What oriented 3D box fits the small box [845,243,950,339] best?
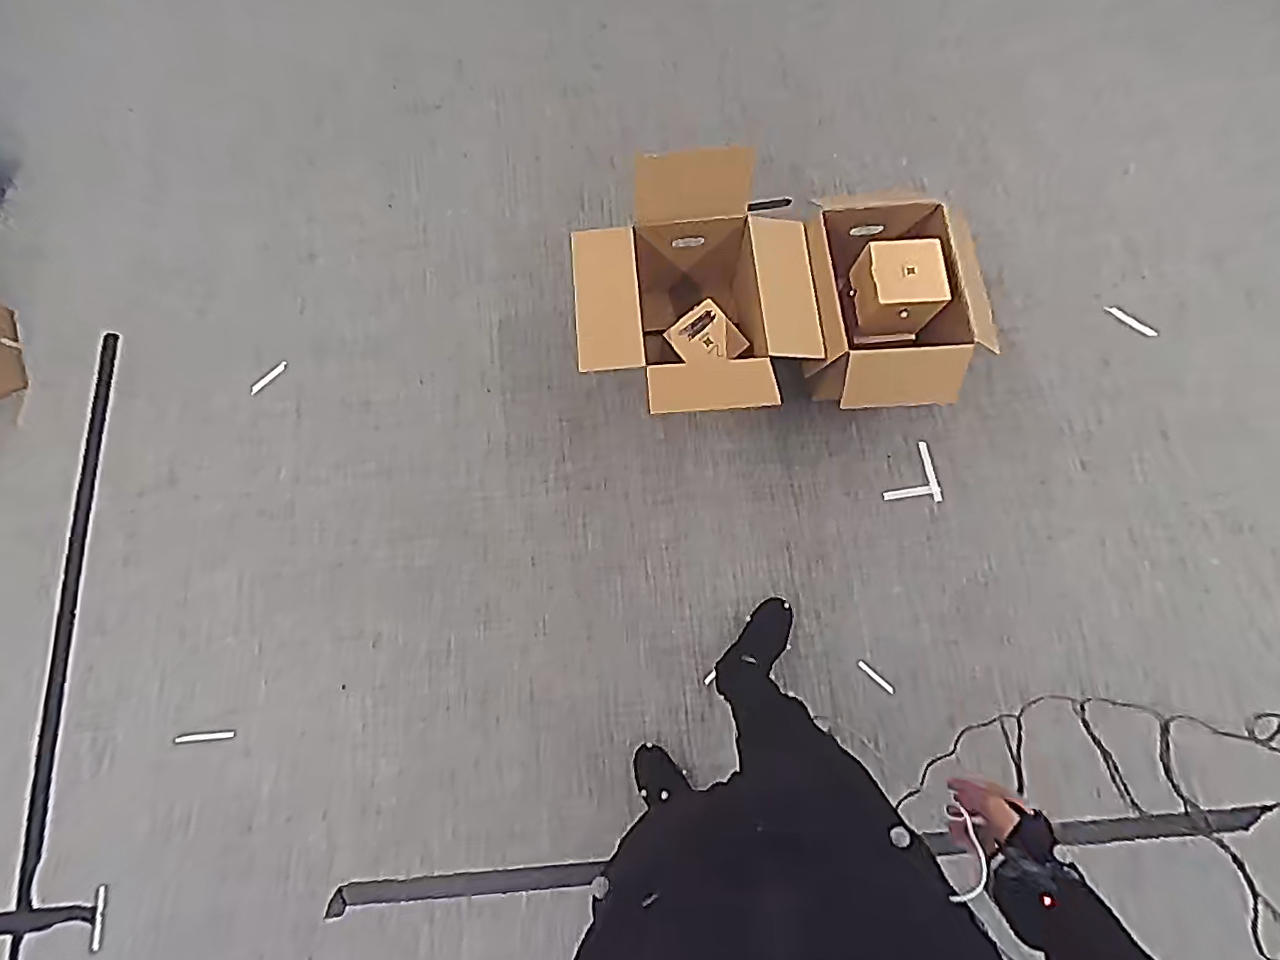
[{"bbox_3d":[0.640,-0.471,1.363,0.179,0.176,0.168,-4,78,1],"label":"small box"}]
